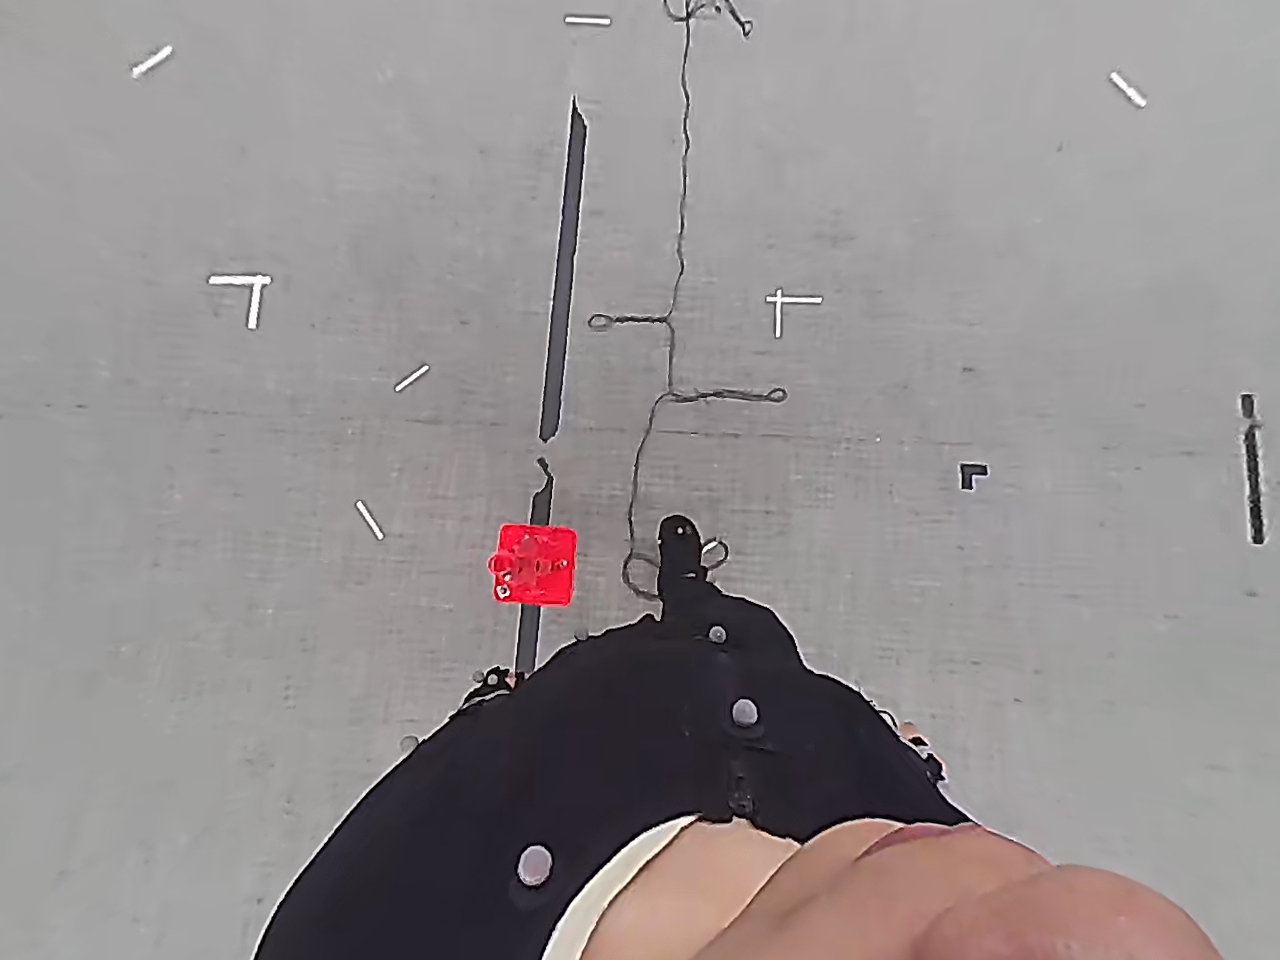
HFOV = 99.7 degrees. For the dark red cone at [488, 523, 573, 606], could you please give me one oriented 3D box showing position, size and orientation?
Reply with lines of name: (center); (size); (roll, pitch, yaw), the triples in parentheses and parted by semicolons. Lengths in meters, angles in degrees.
dark red cone: (-0.269, 0.183, 1.192); (0.201, 0.394, 0.202); (3, 81, 0)
